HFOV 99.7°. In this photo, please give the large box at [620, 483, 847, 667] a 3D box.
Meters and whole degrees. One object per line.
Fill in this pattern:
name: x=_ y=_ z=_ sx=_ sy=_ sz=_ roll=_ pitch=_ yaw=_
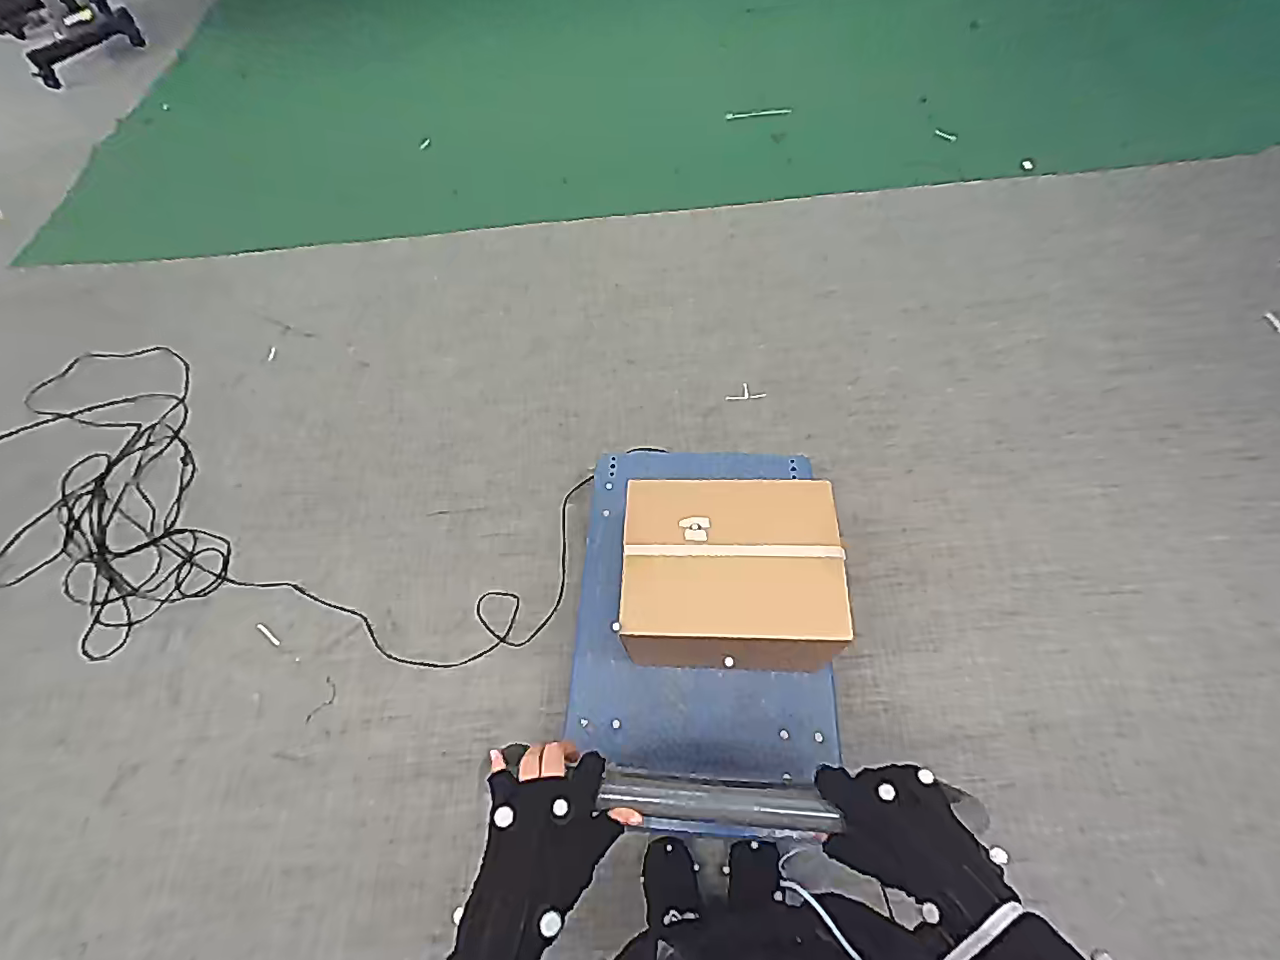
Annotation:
large box: x=0.182 y=0.216 z=1.151 sx=0.408 sy=0.320 sz=0.320 roll=-1 pitch=60 yaw=6
